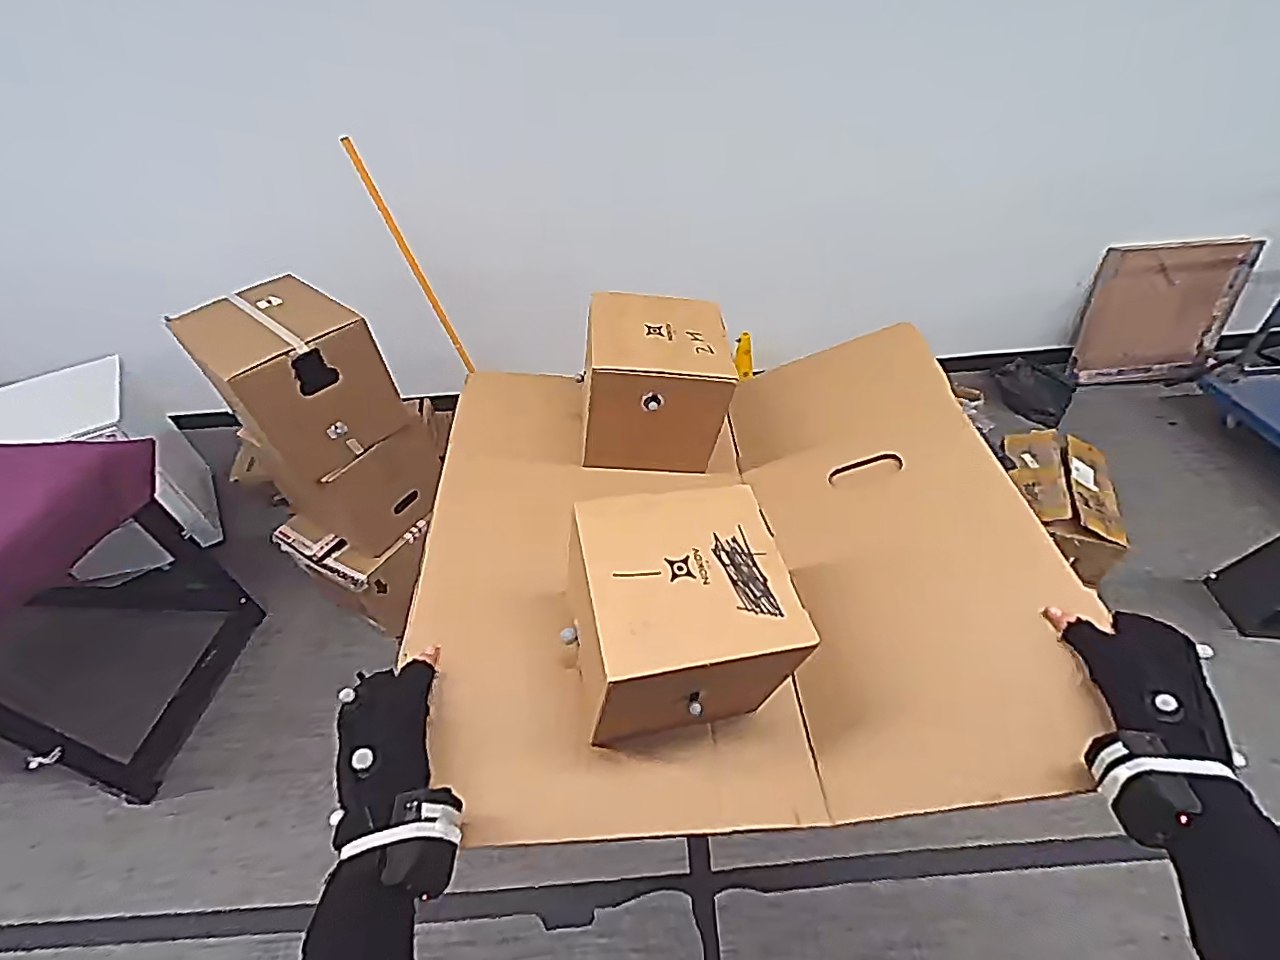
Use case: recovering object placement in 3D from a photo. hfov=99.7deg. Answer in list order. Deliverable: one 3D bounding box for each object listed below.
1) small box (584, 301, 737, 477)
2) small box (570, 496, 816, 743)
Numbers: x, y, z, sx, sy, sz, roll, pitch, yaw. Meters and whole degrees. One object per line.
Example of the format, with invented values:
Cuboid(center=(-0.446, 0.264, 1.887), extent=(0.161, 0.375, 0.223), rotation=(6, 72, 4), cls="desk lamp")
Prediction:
Cuboid(center=(0.016, -0.120, 0.737), extent=(0.179, 0.176, 0.168), rotation=(4, 49, -9), cls="small box")
Cuboid(center=(0.032, 0.135, 0.523), extent=(0.179, 0.176, 0.168), rotation=(-5, 51, -14), cls="small box")
